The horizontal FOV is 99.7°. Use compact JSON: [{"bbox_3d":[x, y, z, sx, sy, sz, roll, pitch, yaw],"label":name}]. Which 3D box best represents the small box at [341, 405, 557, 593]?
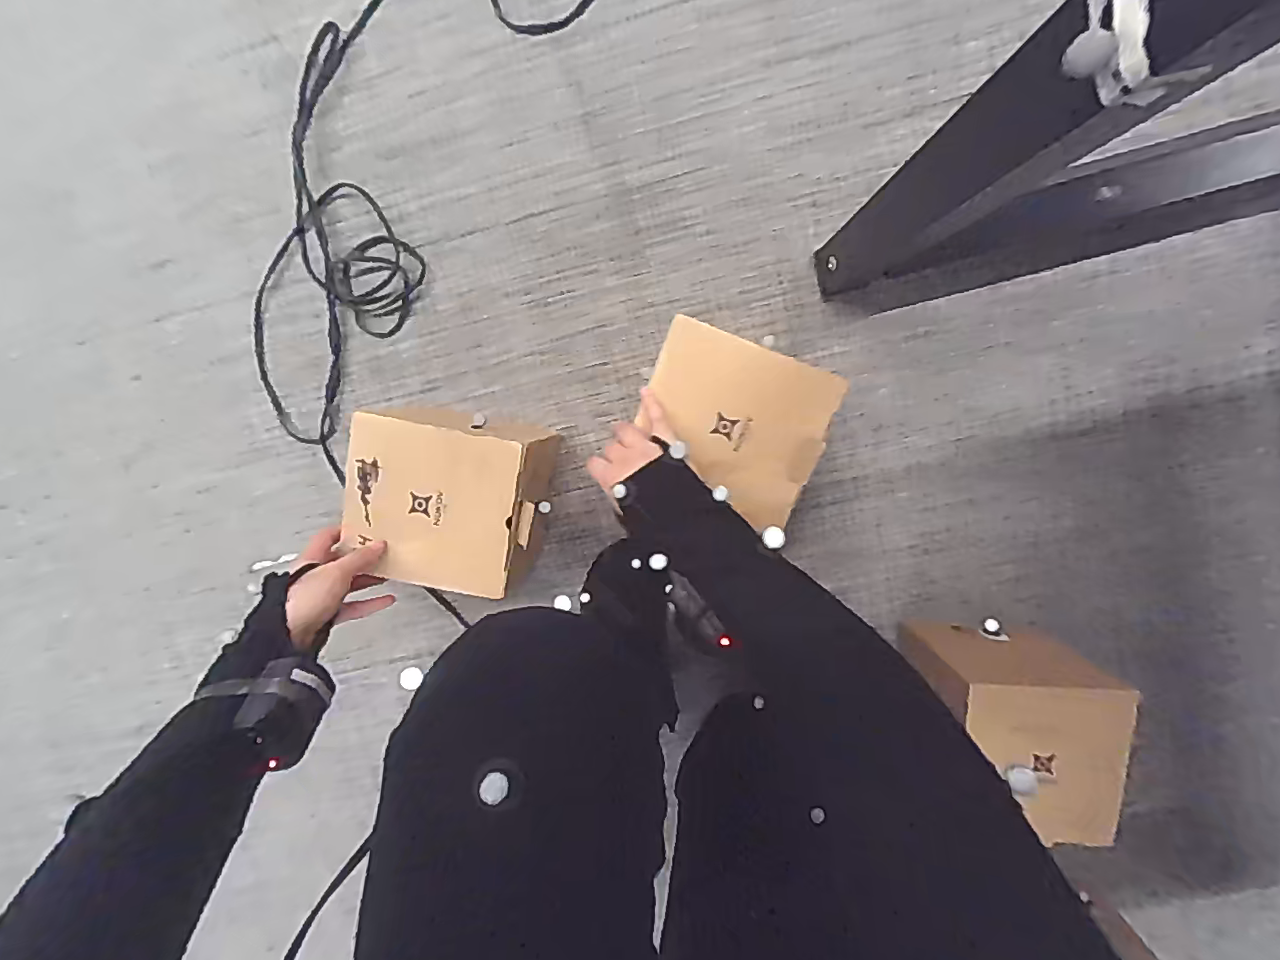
[{"bbox_3d":[-0.201,0.009,0.615,0.179,0.176,0.168,11,98,1],"label":"small box"}]
